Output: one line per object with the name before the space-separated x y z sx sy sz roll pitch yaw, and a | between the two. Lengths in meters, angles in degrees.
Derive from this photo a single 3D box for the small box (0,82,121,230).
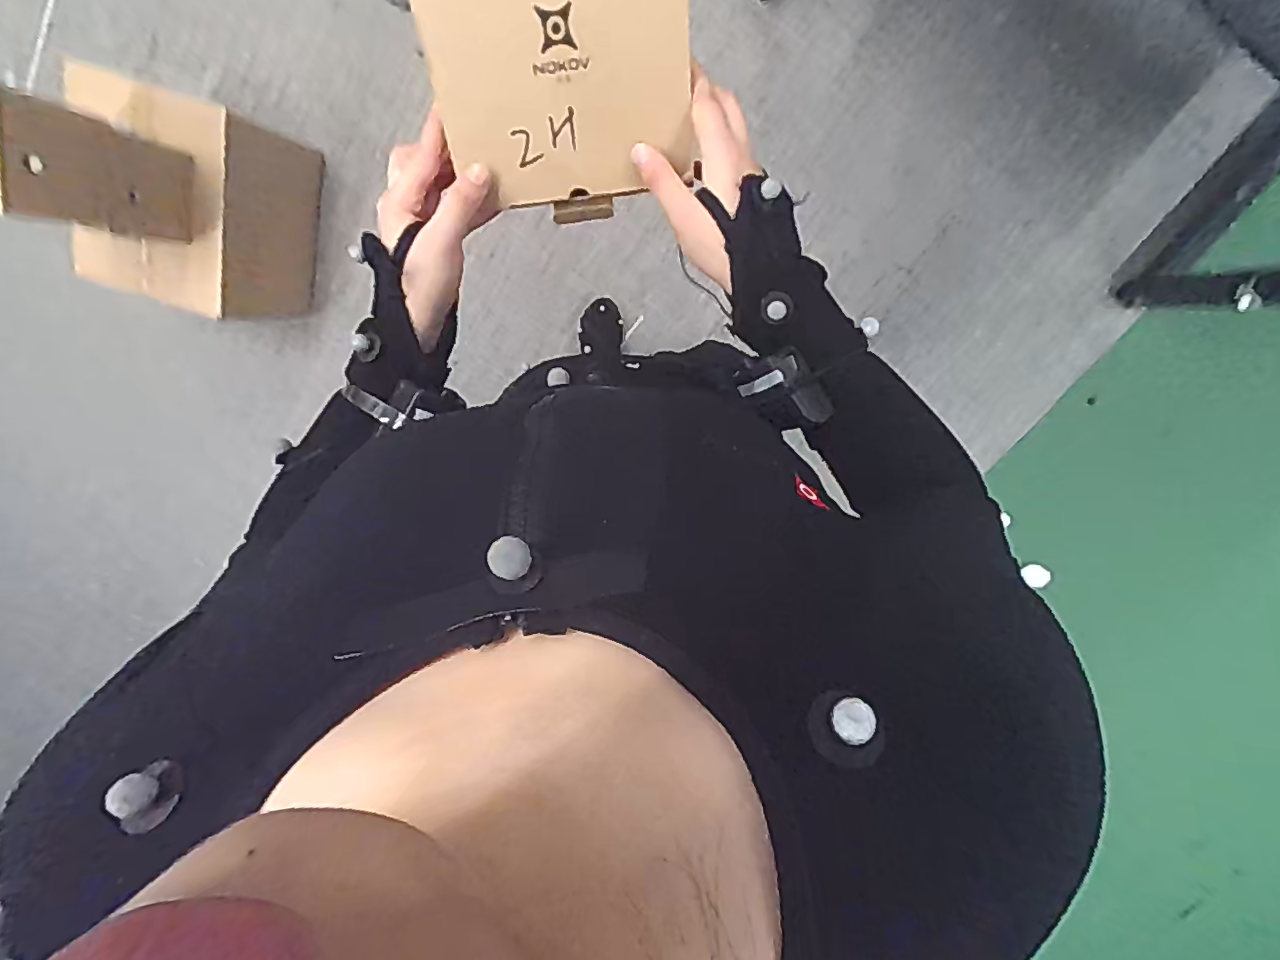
small box | -0.968 -0.513 0.845 0.168 0.176 0.179 17 109 -3

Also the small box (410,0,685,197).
small box | -0.059 -0.325 0.400 0.168 0.176 0.179 -6 127 2

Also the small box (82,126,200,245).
small box | -0.964 -0.552 1.003 0.168 0.176 0.179 16 108 -3
